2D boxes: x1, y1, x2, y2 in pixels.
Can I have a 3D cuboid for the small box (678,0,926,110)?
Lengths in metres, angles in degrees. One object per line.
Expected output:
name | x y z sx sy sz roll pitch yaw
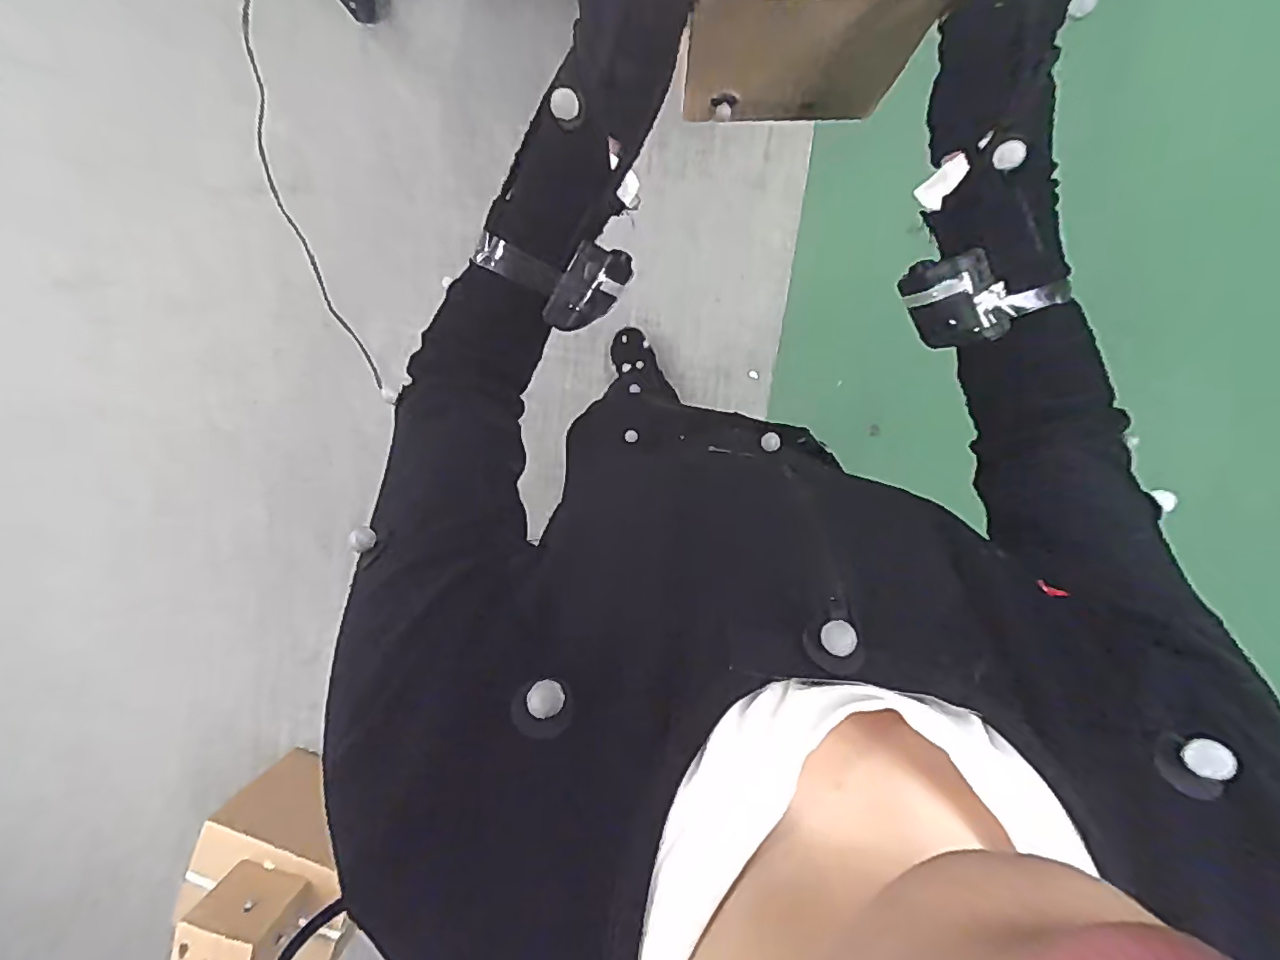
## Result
small box | 0.114 -0.397 0.385 0.168 0.176 0.179 0 93 1

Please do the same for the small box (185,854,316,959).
small box | -0.892 1.013 1.250 0.179 0.176 0.168 15 96 2
